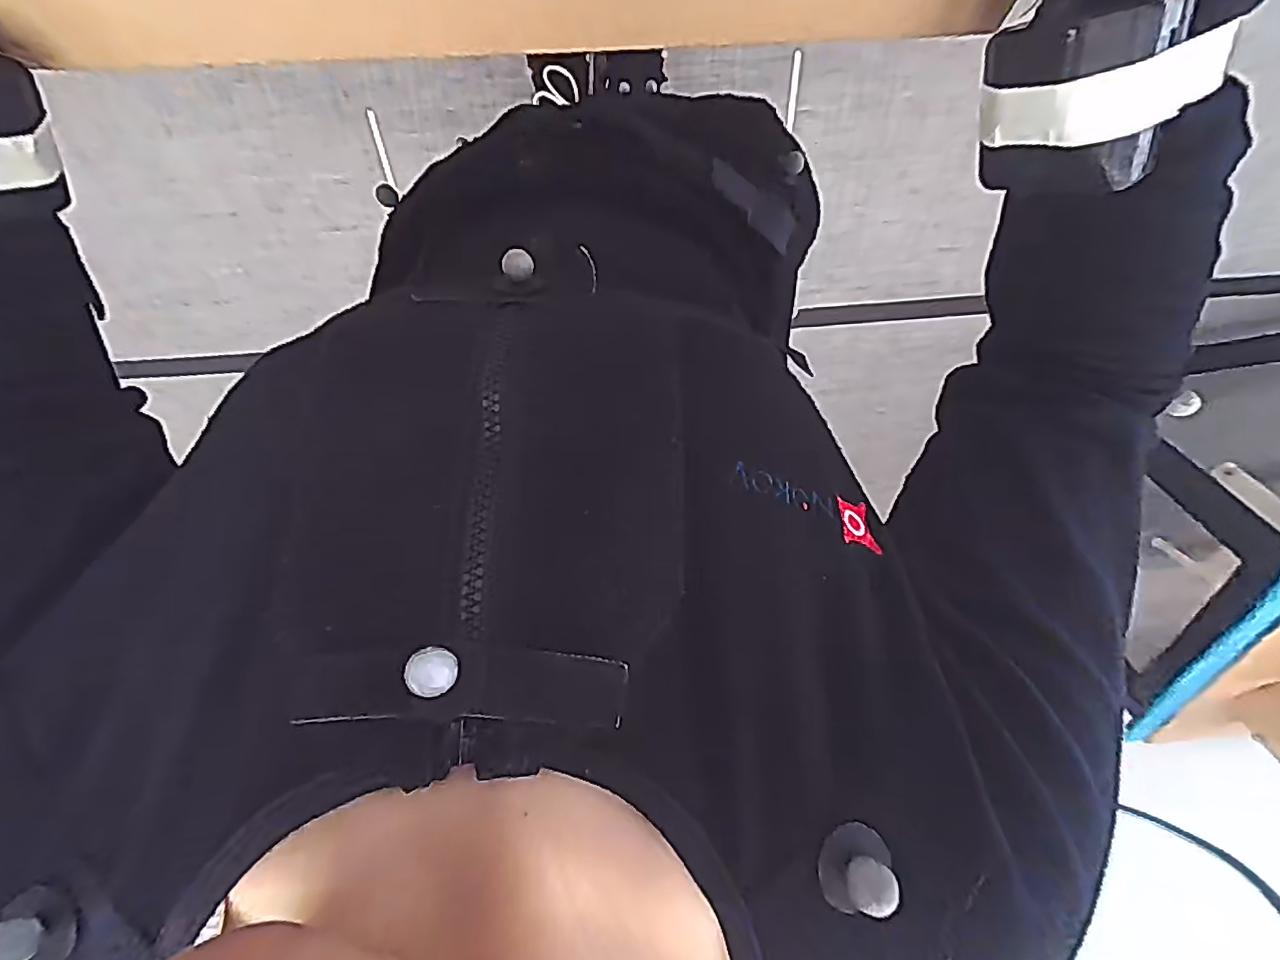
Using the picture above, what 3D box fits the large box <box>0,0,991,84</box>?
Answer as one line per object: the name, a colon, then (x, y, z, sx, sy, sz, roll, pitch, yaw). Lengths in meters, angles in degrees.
large box: (-0.057, -0.378, 0.146, 0.408, 0.320, 0.320, -4, 159, -2)
